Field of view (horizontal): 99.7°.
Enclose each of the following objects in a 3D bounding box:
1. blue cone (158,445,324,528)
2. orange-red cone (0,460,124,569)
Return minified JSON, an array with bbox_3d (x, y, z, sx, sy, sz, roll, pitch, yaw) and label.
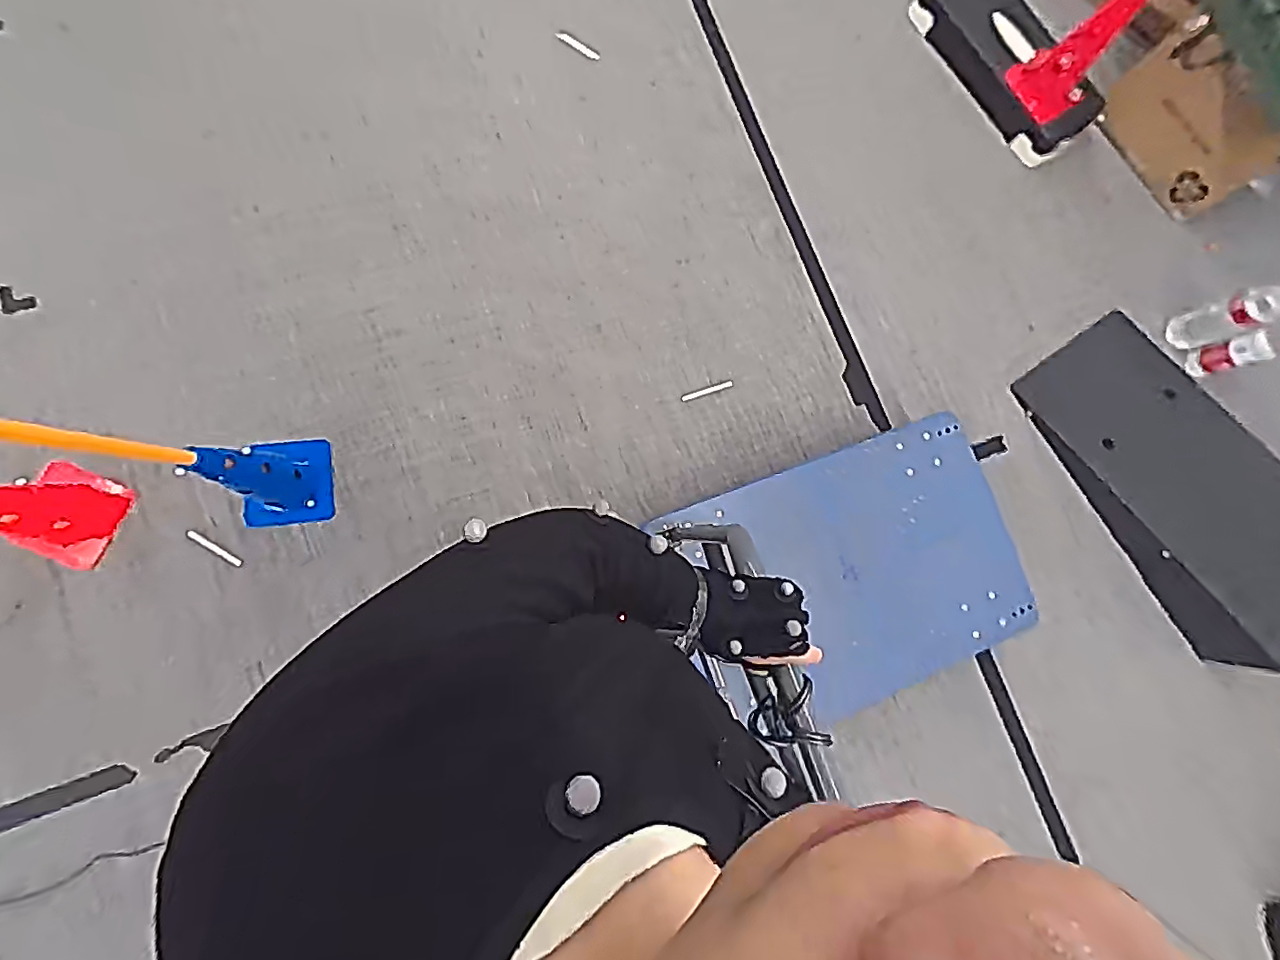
[{"bbox_3d":[-0.830,-0.010,1.120,0.192,0.380,0.193,-4,83,-8],"label":"blue cone"},{"bbox_3d":[-1.260,0.056,1.034,0.199,0.360,0.198,26,80,-5],"label":"orange-red cone"}]
